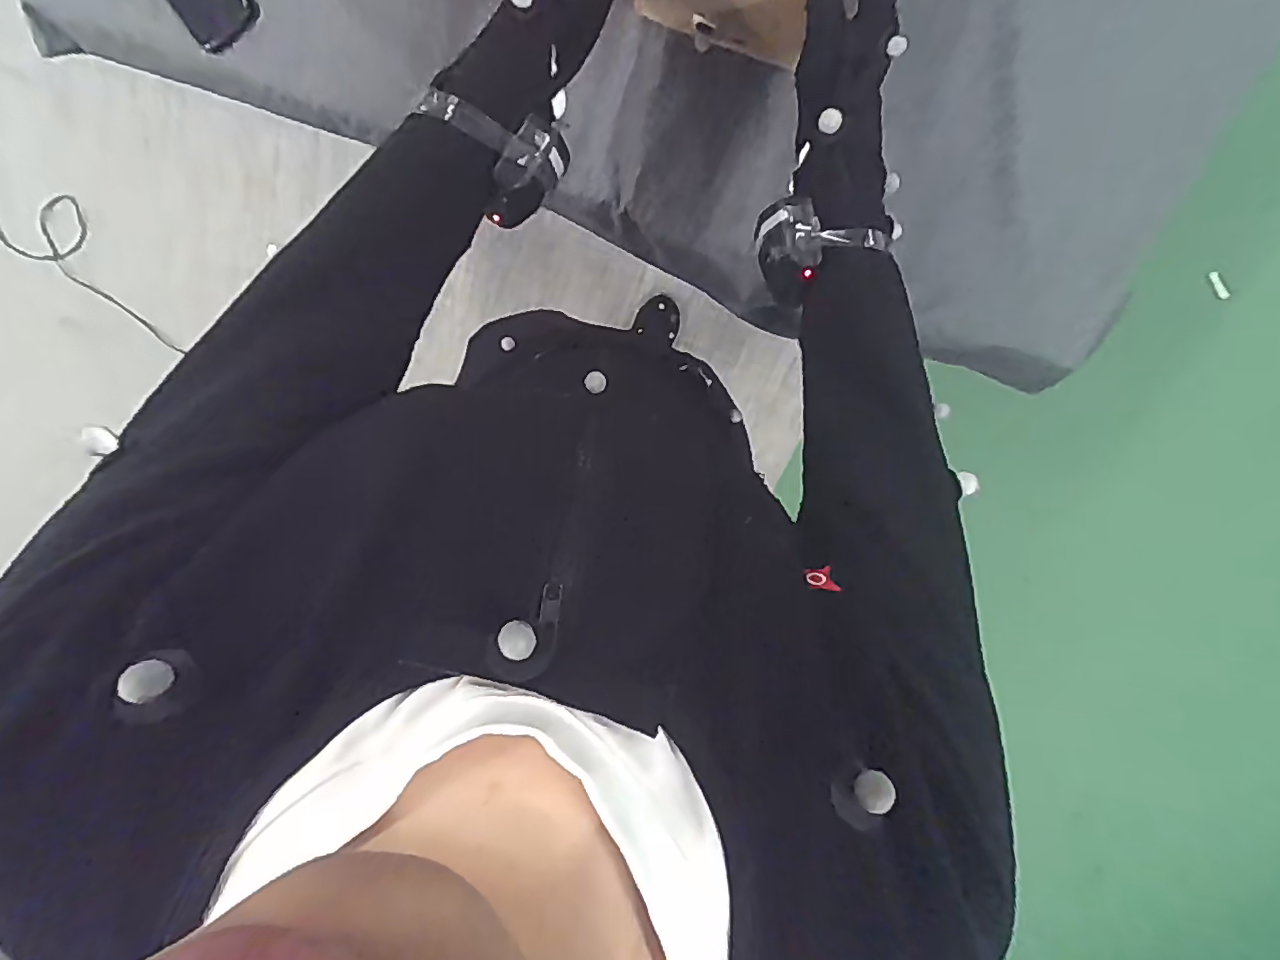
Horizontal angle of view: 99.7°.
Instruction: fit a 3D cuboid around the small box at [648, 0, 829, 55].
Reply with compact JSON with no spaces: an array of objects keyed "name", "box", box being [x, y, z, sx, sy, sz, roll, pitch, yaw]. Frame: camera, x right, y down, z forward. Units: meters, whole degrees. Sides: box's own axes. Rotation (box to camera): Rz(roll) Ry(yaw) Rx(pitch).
[{"name":"small box","box":[0.093,-0.484,0.427,0.168,0.176,0.179,17,115,-2]}]
